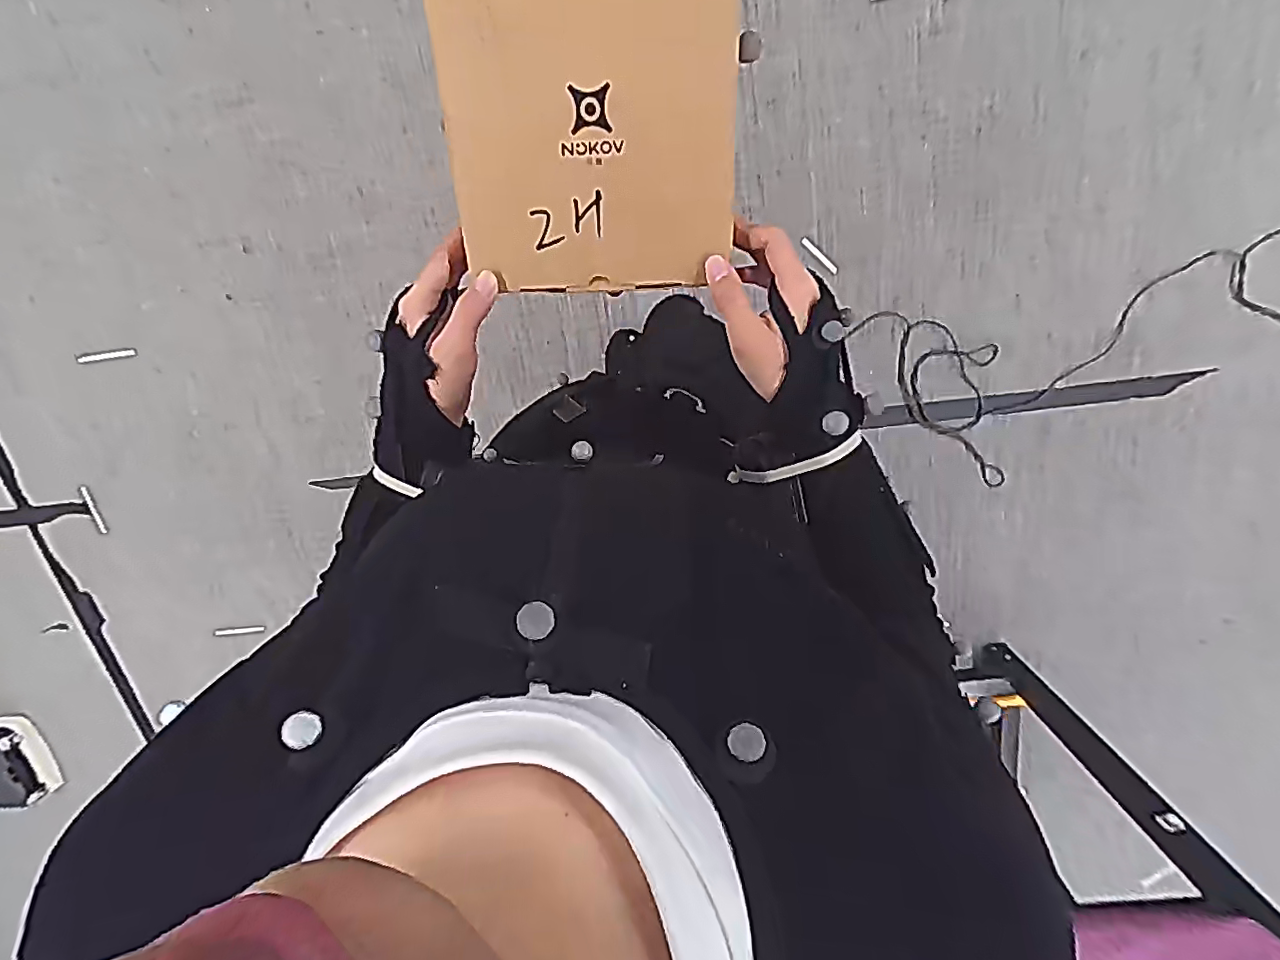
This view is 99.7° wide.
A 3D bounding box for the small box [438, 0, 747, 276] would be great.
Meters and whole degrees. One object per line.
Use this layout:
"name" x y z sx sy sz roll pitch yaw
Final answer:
"small box" -0.023 -0.240 0.375 0.168 0.176 0.179 0 115 3
